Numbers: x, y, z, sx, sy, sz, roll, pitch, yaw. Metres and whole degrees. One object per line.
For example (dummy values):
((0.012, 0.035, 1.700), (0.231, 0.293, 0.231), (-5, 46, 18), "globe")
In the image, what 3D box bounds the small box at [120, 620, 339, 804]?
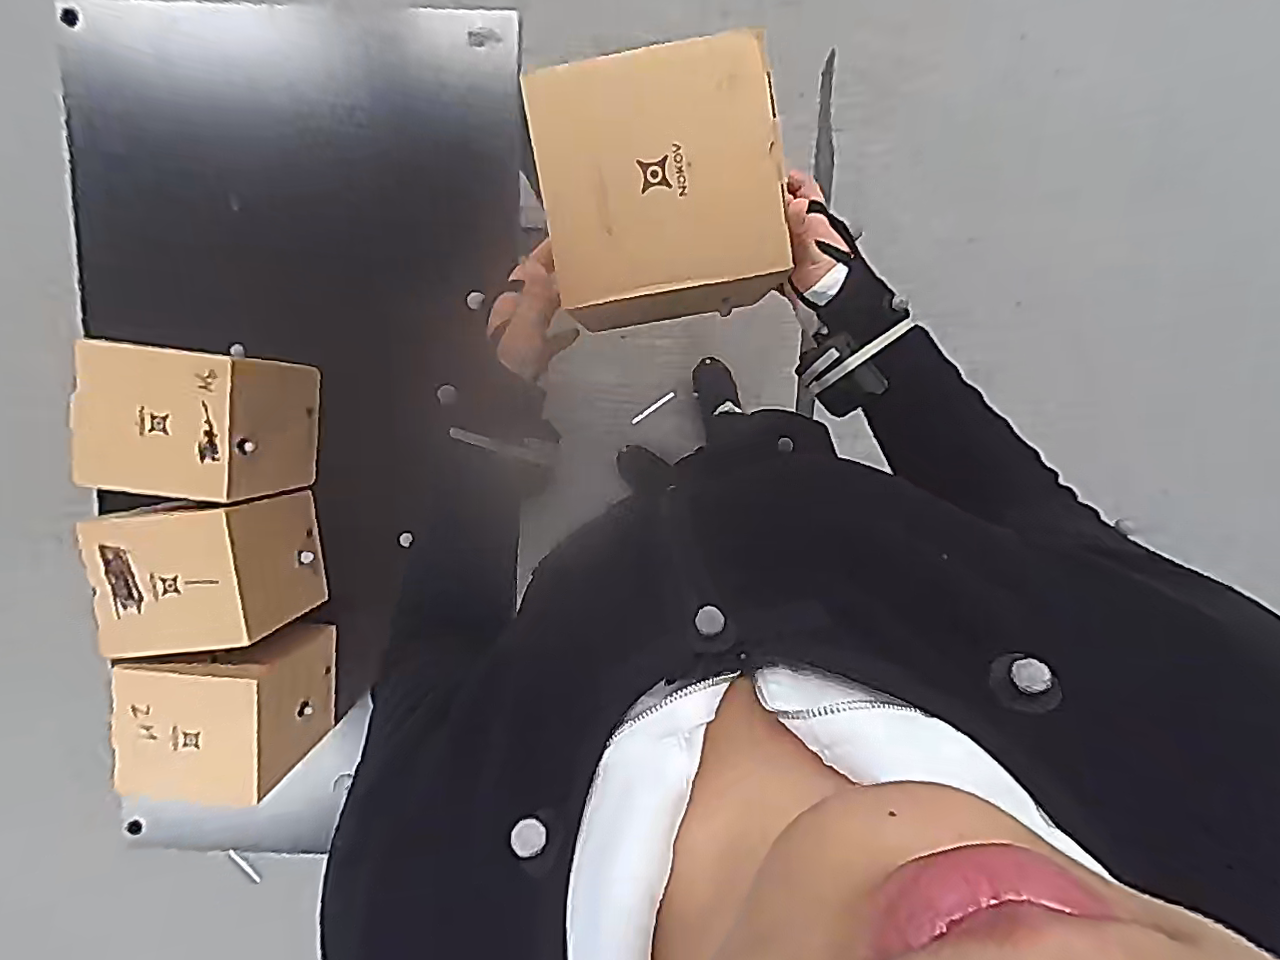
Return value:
((-0.534, 0.298, 0.727), (0.179, 0.176, 0.168), (4, 96, 1), "small box")

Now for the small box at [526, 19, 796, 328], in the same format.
((0.019, -0.236, 0.465), (0.179, 0.176, 0.168), (-9, 97, 4), "small box")
